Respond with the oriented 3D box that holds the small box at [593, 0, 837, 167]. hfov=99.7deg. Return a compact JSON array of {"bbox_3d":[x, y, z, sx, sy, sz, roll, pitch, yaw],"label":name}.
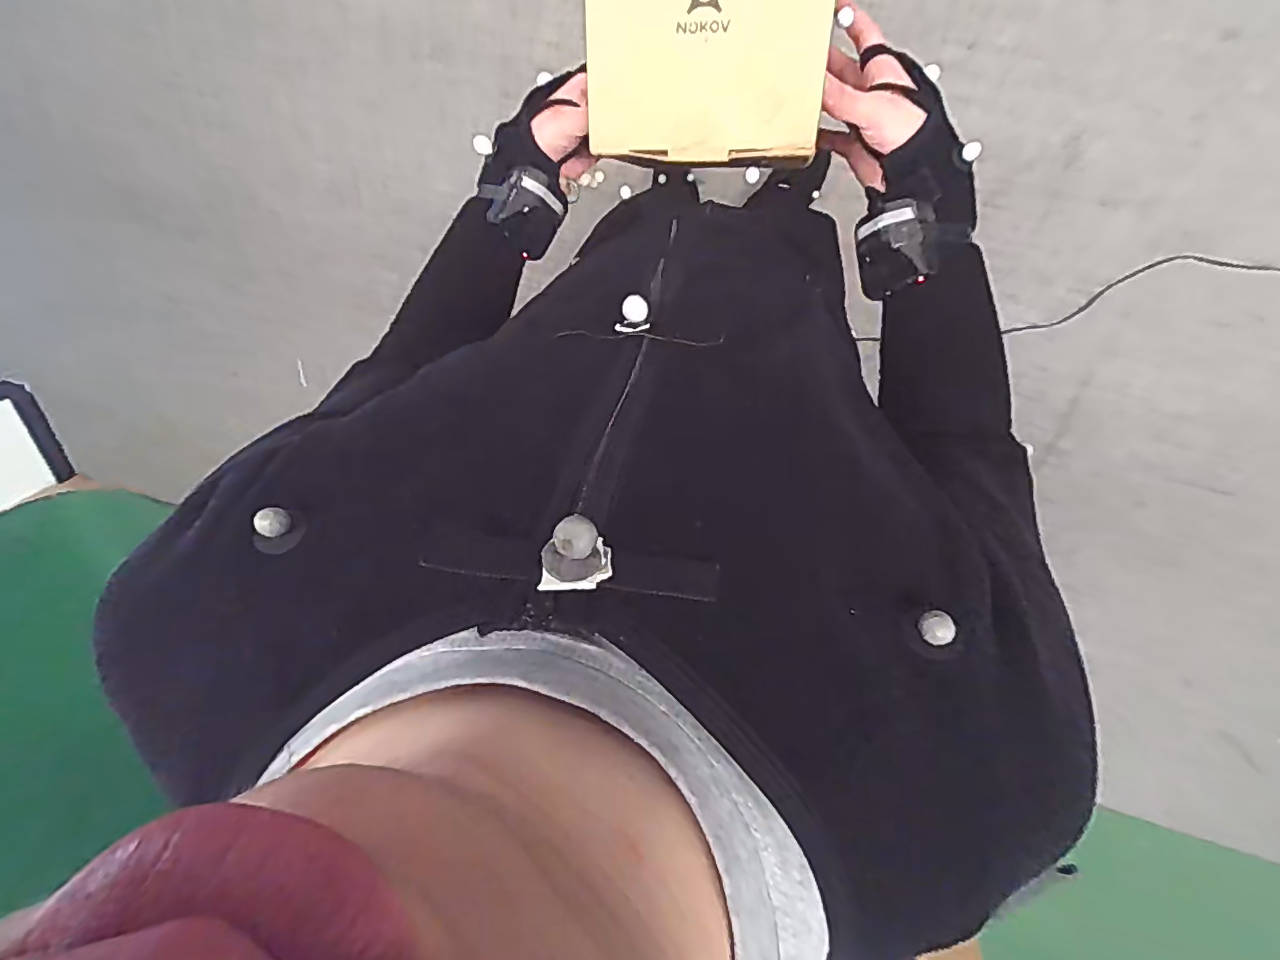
[{"bbox_3d":[0.065,-0.351,0.426,0.168,0.176,0.179,6,116,11],"label":"small box"}]
